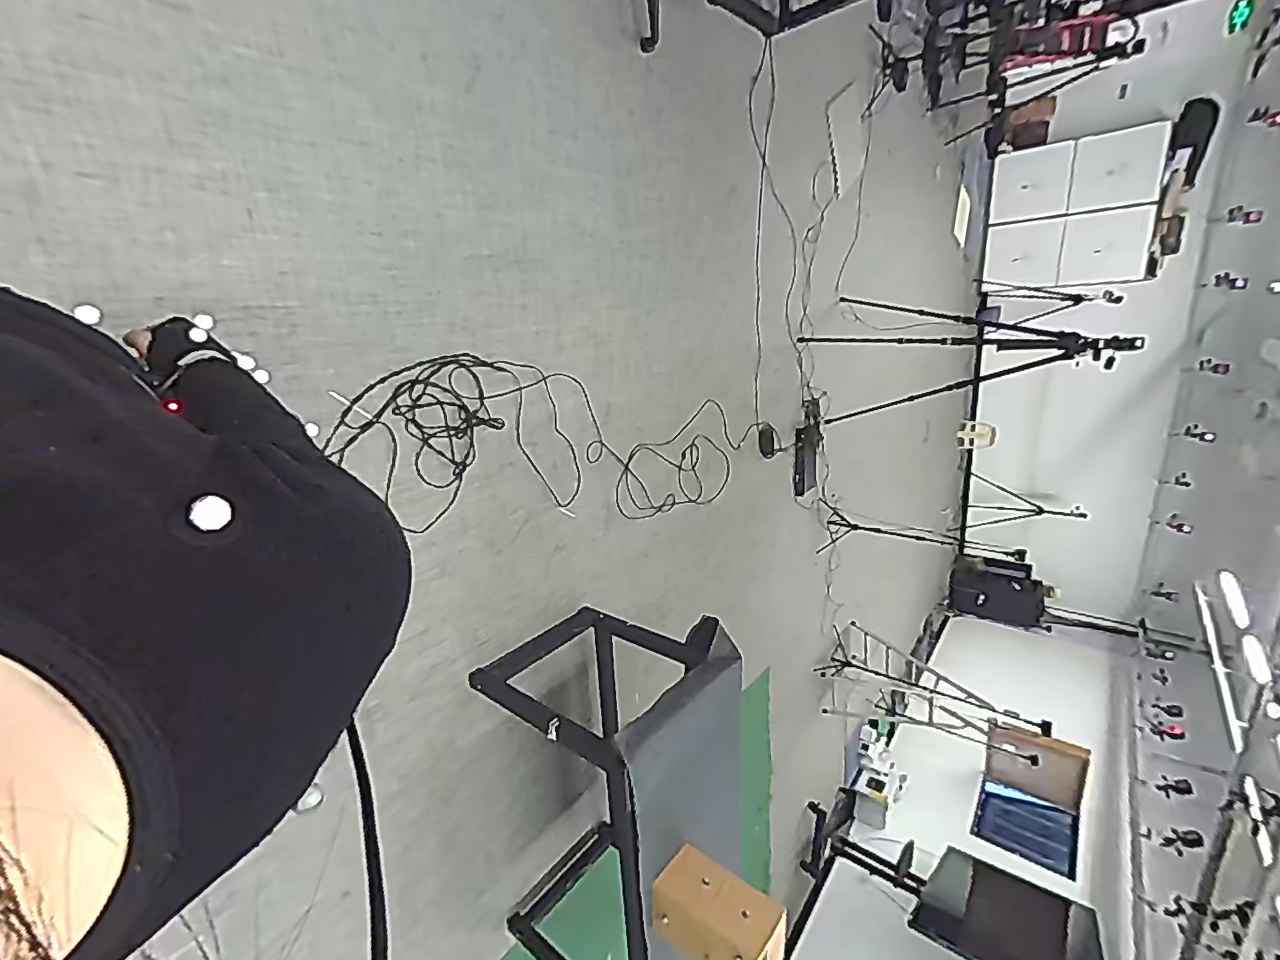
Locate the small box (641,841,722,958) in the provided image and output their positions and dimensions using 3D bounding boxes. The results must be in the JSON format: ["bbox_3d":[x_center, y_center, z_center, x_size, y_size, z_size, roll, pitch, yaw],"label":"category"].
[{"bbox_3d":[0.123,1.214,1.584,0.179,0.176,0.168,-15,109,-50],"label":"small box"}]
